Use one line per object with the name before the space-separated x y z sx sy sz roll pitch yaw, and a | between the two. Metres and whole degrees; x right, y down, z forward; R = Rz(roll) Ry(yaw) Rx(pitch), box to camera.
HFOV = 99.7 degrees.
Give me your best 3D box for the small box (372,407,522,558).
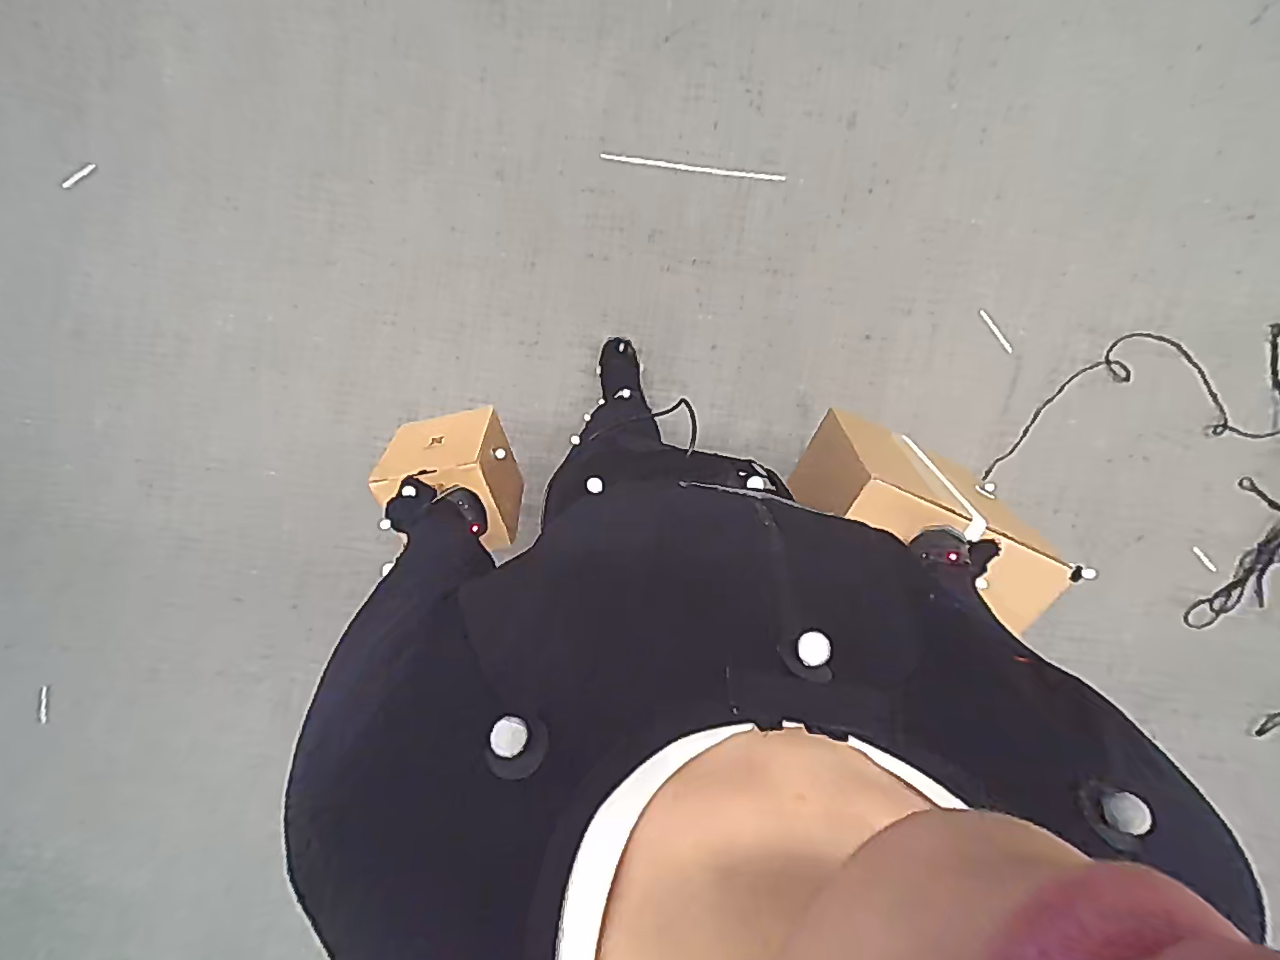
small box | -0.304 0.003 0.898 0.168 0.179 0.176 -11 126 3
